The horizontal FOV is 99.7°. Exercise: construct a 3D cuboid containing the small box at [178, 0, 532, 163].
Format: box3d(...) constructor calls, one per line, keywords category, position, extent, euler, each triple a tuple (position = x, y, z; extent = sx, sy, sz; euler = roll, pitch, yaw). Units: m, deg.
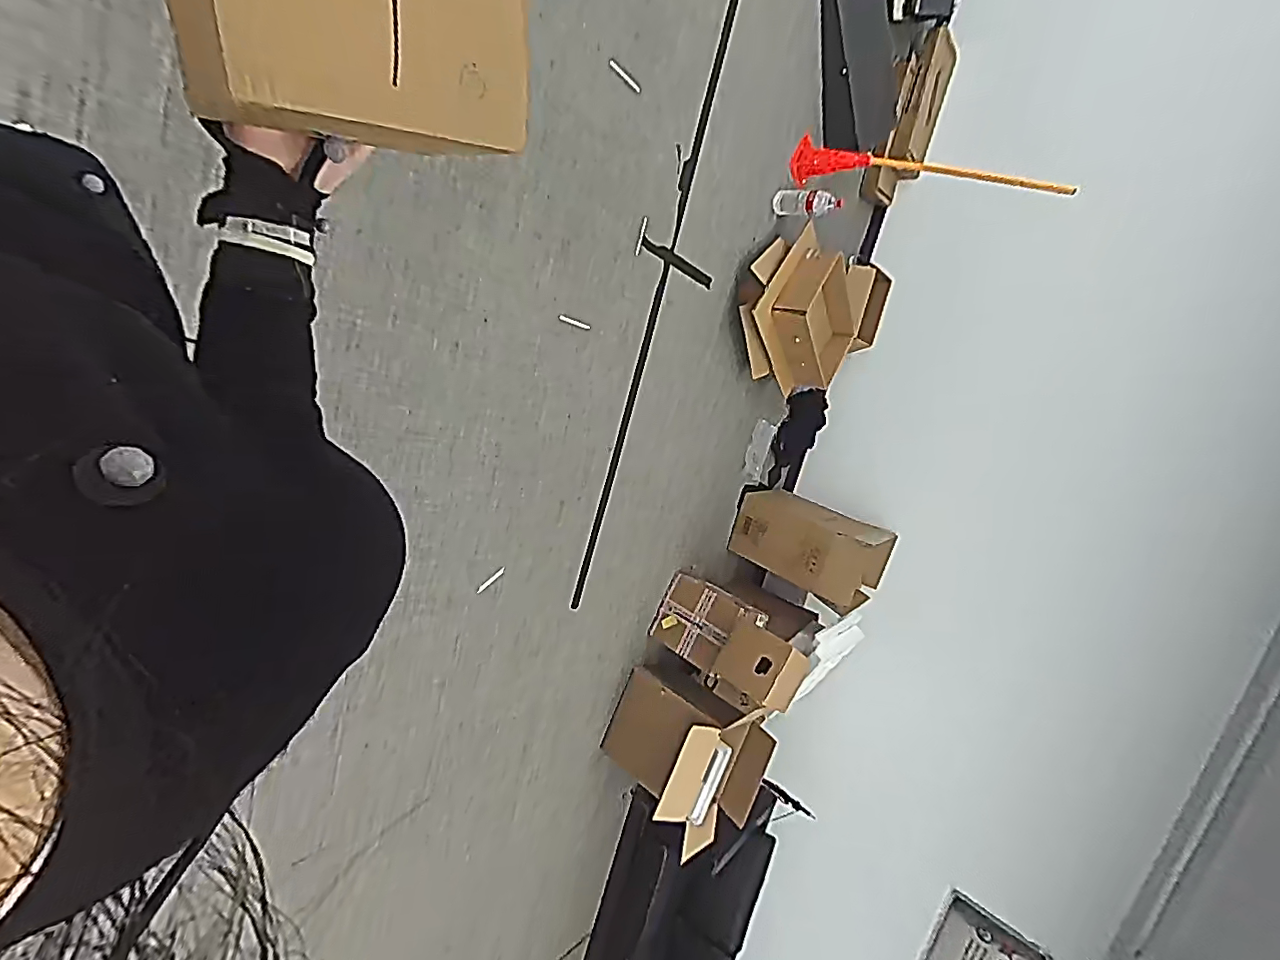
box3d(category="small box", position=(-0.183, -0.312, 0.339), extent=(0.168, 0.176, 0.179), euler=(-16, 124, -39))
